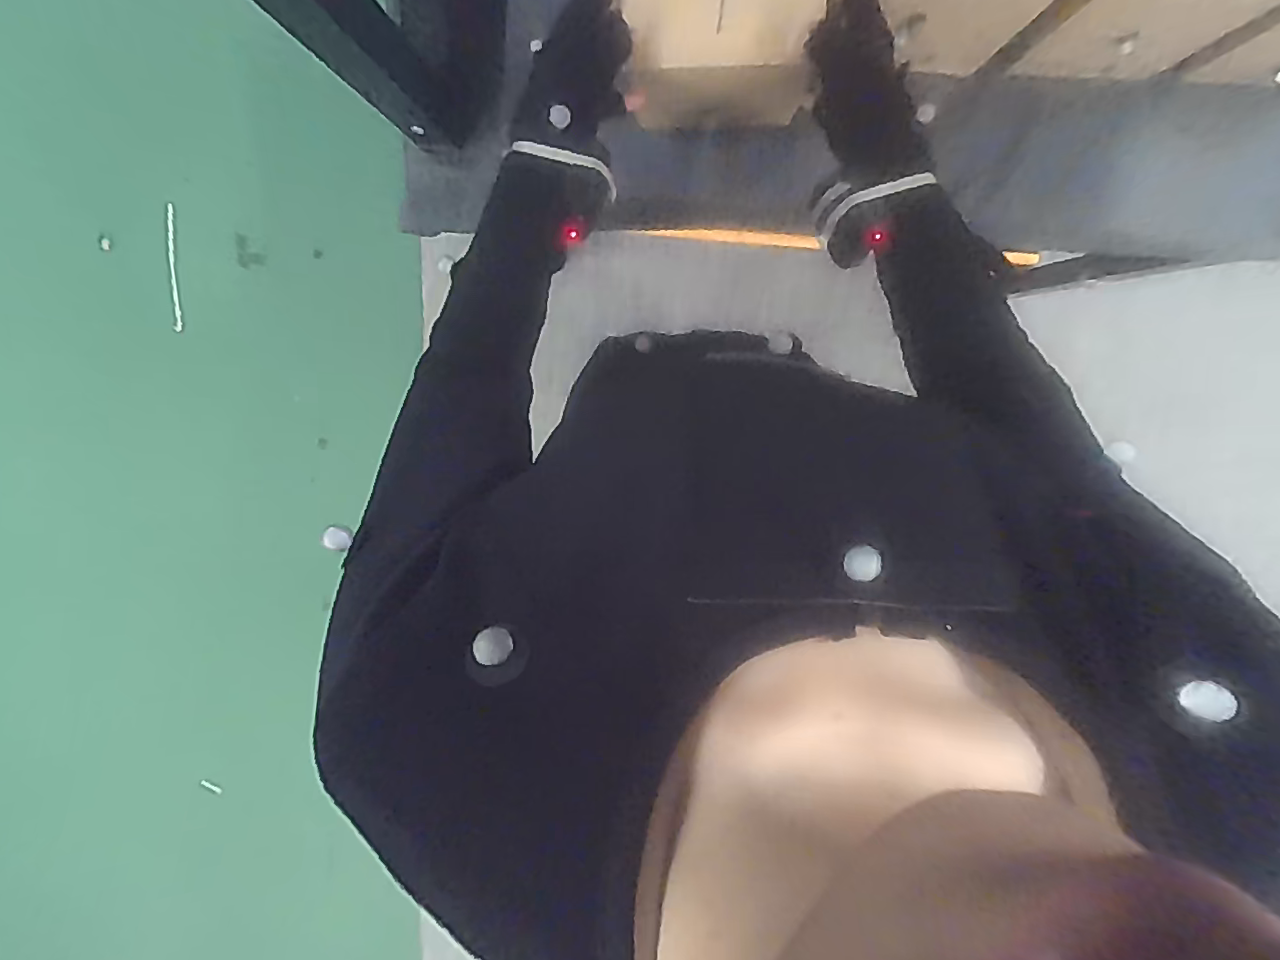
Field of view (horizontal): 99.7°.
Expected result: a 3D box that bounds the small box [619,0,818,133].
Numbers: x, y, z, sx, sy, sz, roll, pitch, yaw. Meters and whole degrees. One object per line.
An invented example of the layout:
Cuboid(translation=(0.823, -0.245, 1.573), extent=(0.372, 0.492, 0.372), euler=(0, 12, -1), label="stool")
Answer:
Cuboid(translation=(0.071, -0.452, 0.508), extent=(0.168, 0.176, 0.179), euler=(2, 109, 5), label="small box")
